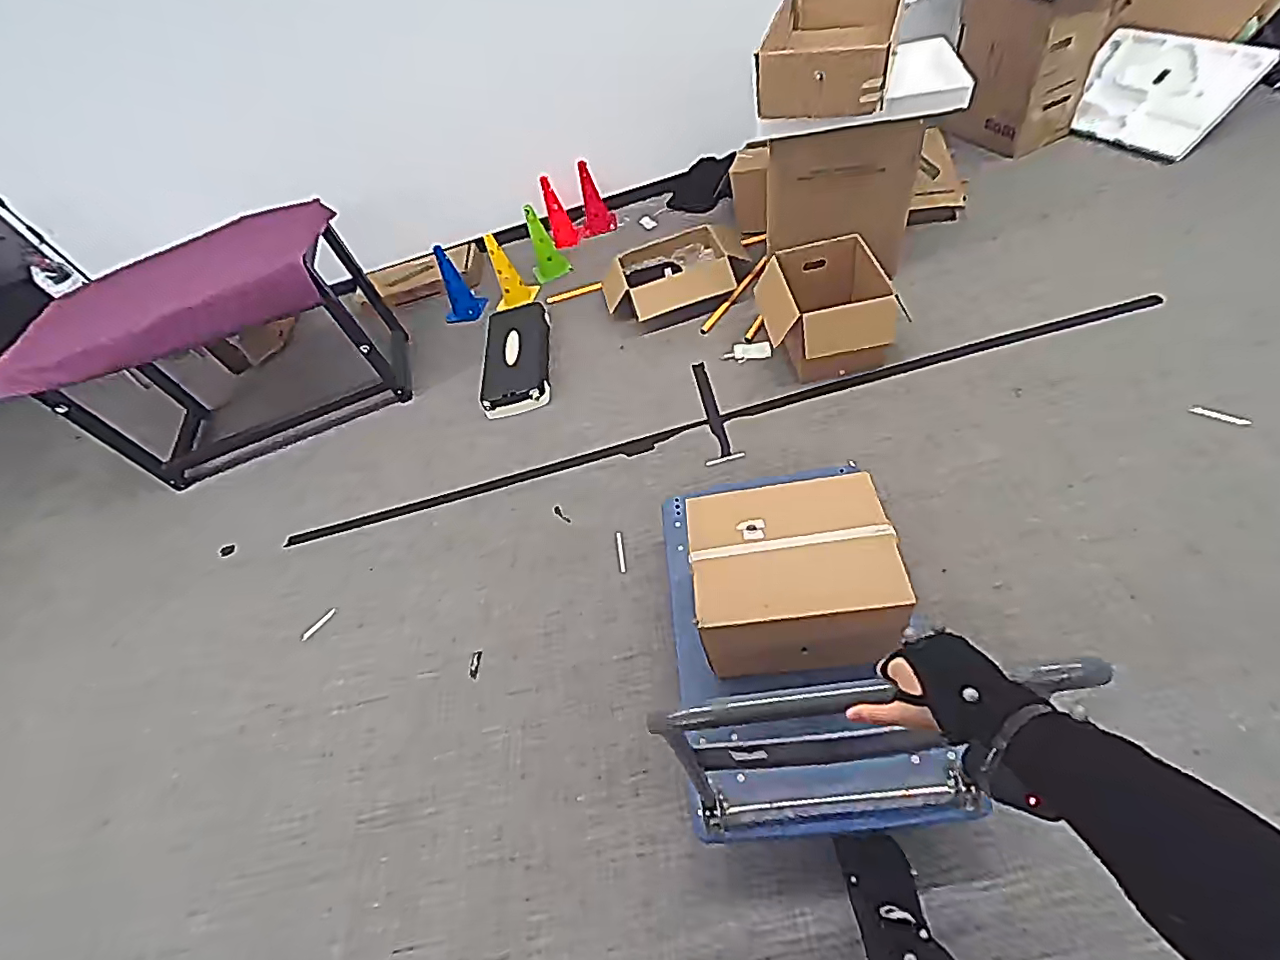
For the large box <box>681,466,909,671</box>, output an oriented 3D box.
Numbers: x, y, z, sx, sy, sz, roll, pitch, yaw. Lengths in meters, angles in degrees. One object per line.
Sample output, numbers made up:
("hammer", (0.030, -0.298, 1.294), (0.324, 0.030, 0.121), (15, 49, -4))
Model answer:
("large box", (0.329, 0.212, 1.217), (0.408, 0.320, 0.320), (-10, 50, 10))
